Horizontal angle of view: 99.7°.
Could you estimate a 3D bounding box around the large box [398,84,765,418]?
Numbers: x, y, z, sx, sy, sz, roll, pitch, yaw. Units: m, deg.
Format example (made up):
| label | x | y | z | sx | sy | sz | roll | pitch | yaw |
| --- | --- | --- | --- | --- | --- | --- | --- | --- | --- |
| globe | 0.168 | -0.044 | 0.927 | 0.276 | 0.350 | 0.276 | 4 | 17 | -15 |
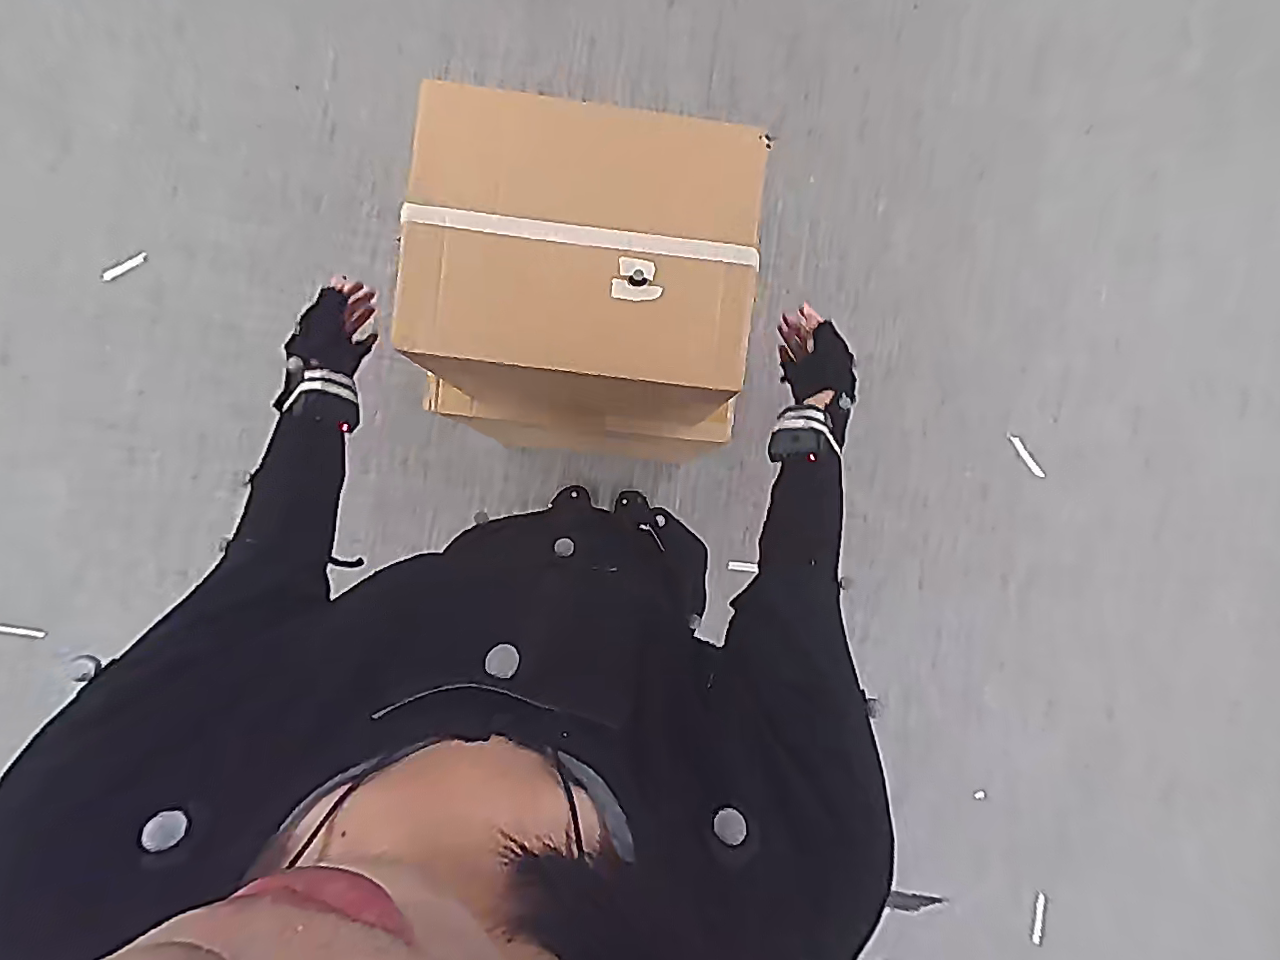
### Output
| label | x | y | z | sx | sy | sz | roll | pitch | yaw |
| --- | --- | --- | --- | --- | --- | --- | --- | --- | --- |
| large box | -0.074 | -0.277 | 0.767 | 0.408 | 0.320 | 0.320 | 6 | 89 | -4 |
